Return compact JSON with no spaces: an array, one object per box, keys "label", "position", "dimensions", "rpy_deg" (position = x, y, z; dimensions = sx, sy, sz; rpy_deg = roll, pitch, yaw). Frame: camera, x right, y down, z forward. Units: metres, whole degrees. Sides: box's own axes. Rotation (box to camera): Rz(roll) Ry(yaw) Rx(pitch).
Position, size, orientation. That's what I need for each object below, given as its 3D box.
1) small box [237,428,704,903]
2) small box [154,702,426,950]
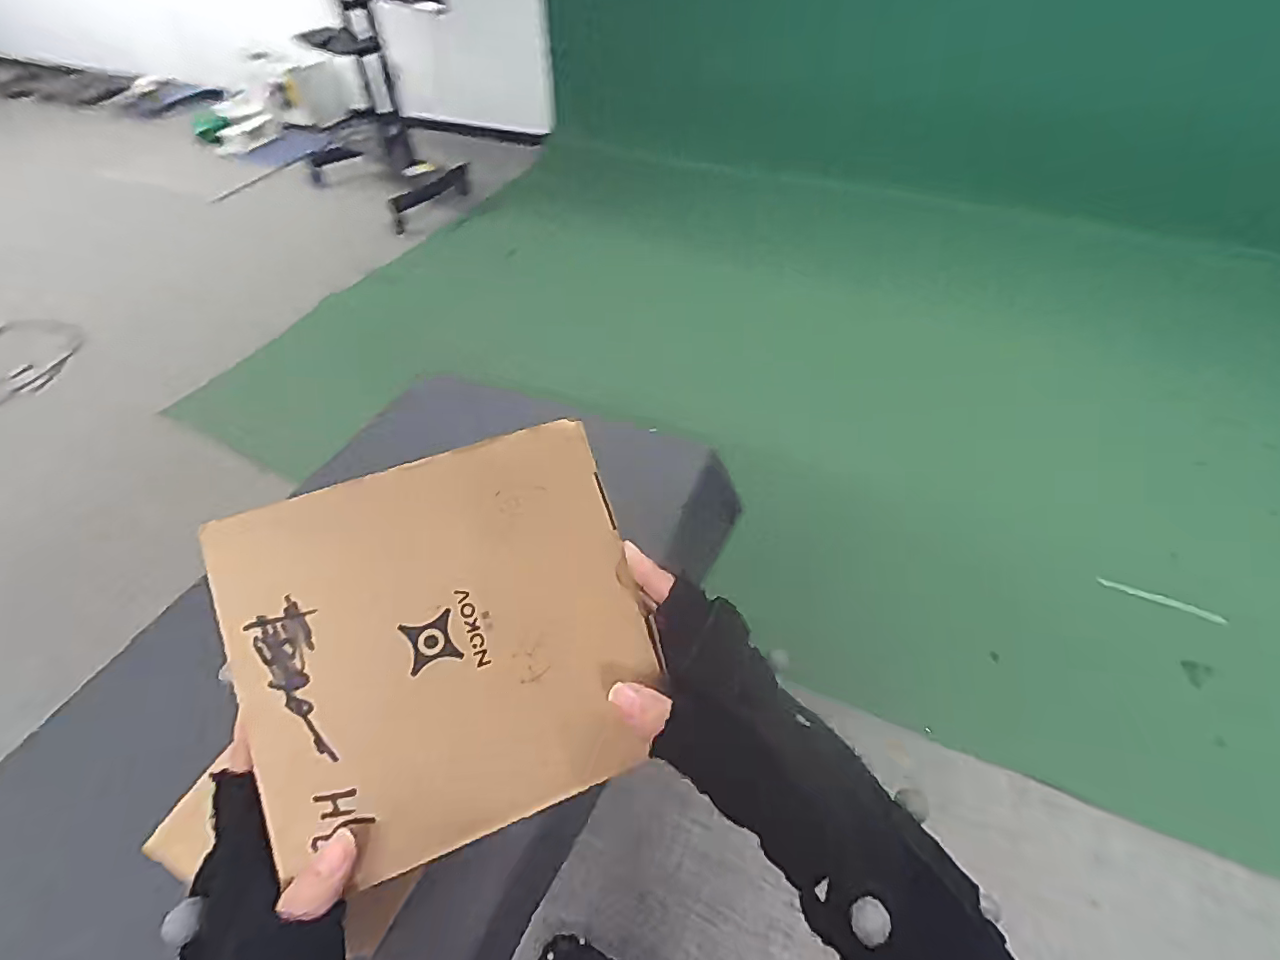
[{"label":"small box","position":[-0.087,0.086,0.322],"dimensions":[0.179,0.176,0.168],"rpy_deg":[-16,80,-13]},{"label":"small box","position":[-0.292,0.314,0.532],"dimensions":[0.168,0.176,0.179],"rpy_deg":[19,53,17]}]
